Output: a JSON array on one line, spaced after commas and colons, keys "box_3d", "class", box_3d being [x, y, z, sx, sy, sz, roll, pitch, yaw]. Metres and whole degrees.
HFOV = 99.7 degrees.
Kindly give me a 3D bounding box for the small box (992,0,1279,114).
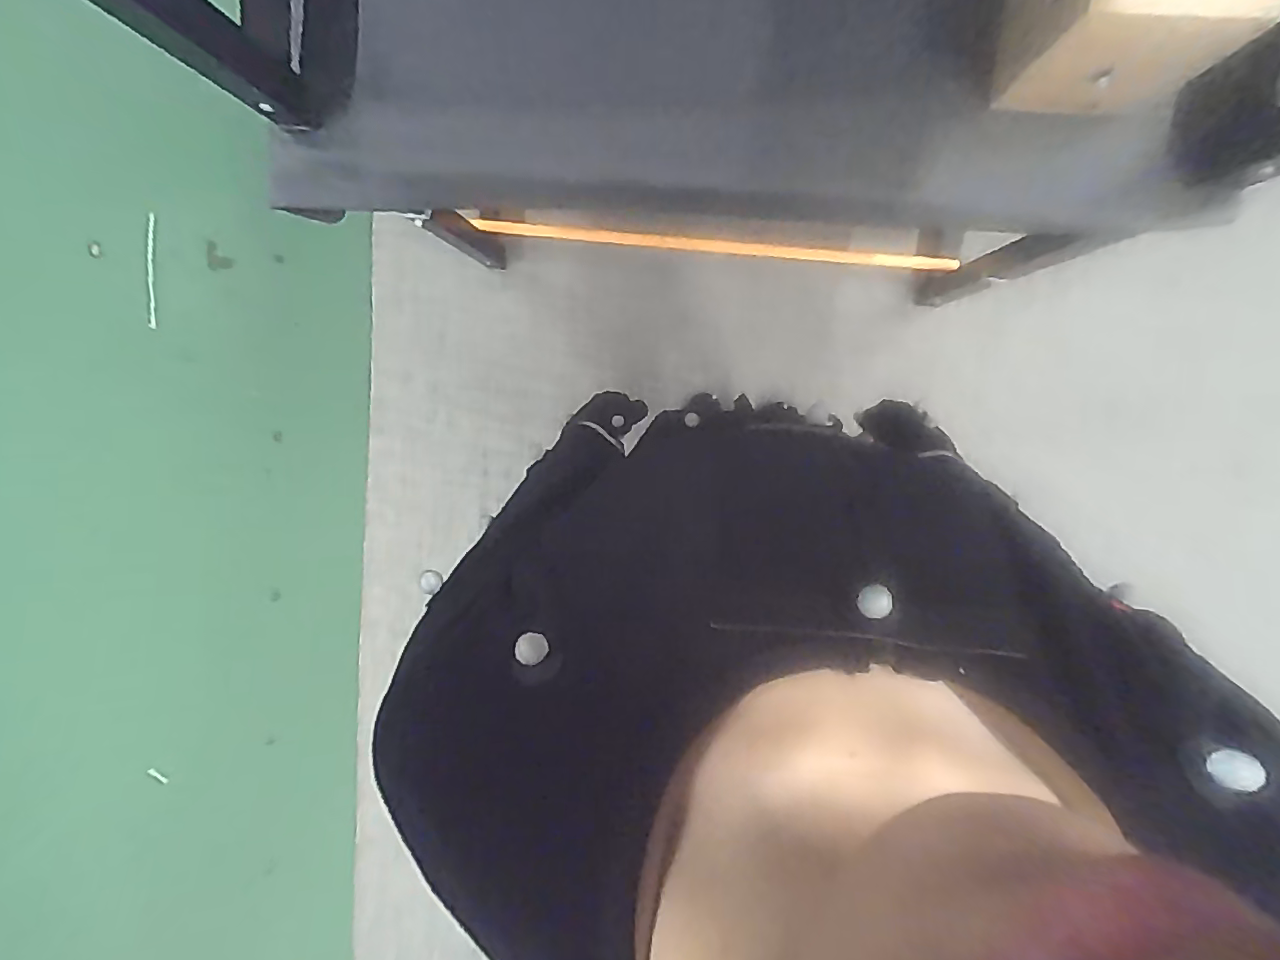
[{"box_3d": [0.497, -0.509, 0.551, 0.168, 0.176, 0.179, 6, 98, 4], "class": "small box"}]
